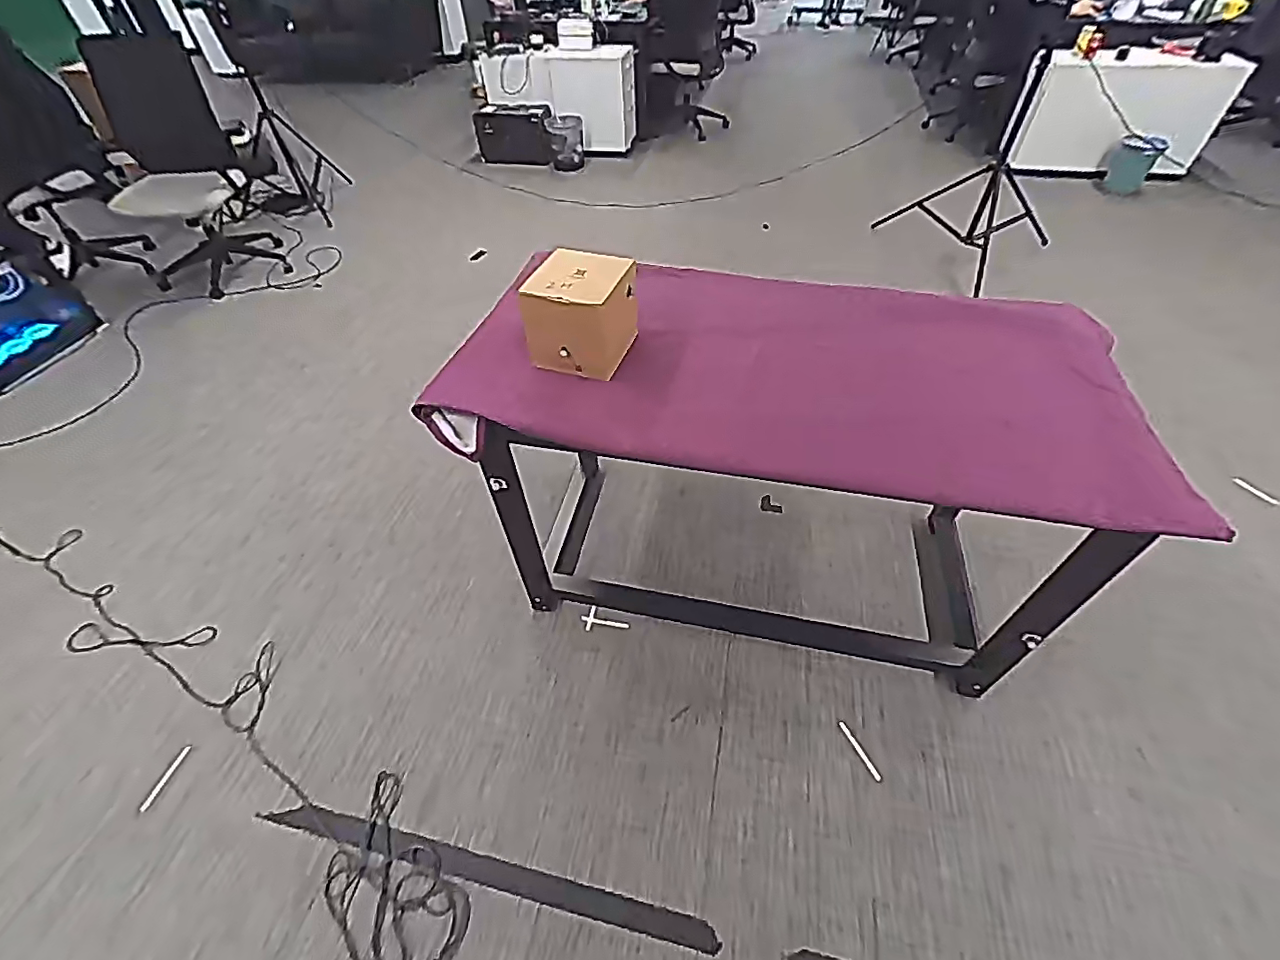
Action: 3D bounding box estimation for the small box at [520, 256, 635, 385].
[{"bbox_3d":[-0.115,-0.316,1.071,0.168,0.176,0.179,14,50,14],"label":"small box"}]
